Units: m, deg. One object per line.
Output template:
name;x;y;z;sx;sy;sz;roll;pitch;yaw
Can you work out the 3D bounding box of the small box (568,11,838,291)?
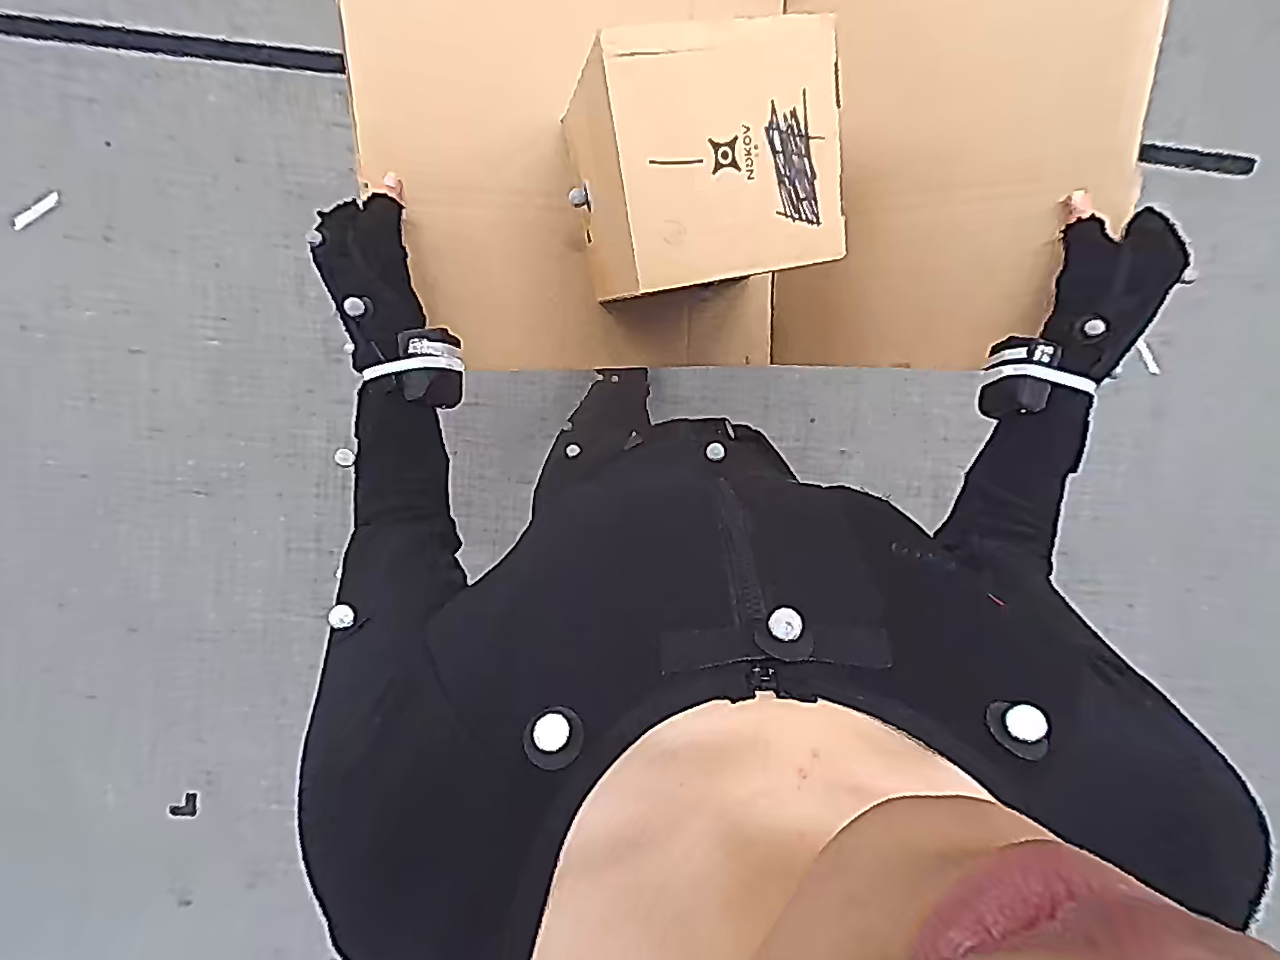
small box;0.047;-0.266;0.473;0.179;0.176;0.168;-14;109;-11
